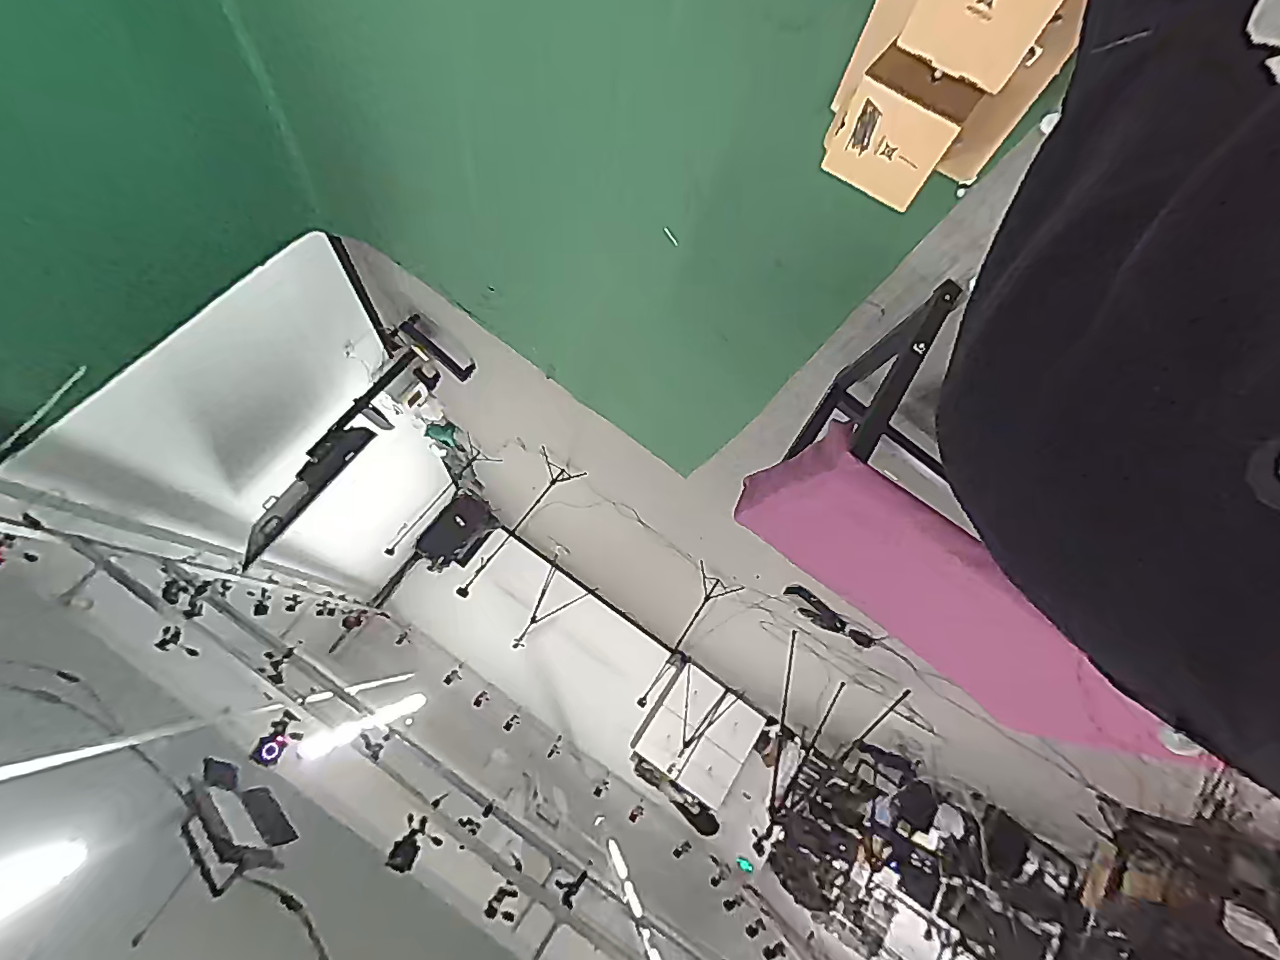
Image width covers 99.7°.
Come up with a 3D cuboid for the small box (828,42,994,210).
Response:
[{"bbox_3d":[0.466,-0.618,0.932,0.179,0.176,0.168,35,160,7],"label":"small box"}]

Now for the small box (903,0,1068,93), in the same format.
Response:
[{"bbox_3d":[0.501,-0.685,0.727,0.168,0.176,0.179,34,159,7],"label":"small box"}]
